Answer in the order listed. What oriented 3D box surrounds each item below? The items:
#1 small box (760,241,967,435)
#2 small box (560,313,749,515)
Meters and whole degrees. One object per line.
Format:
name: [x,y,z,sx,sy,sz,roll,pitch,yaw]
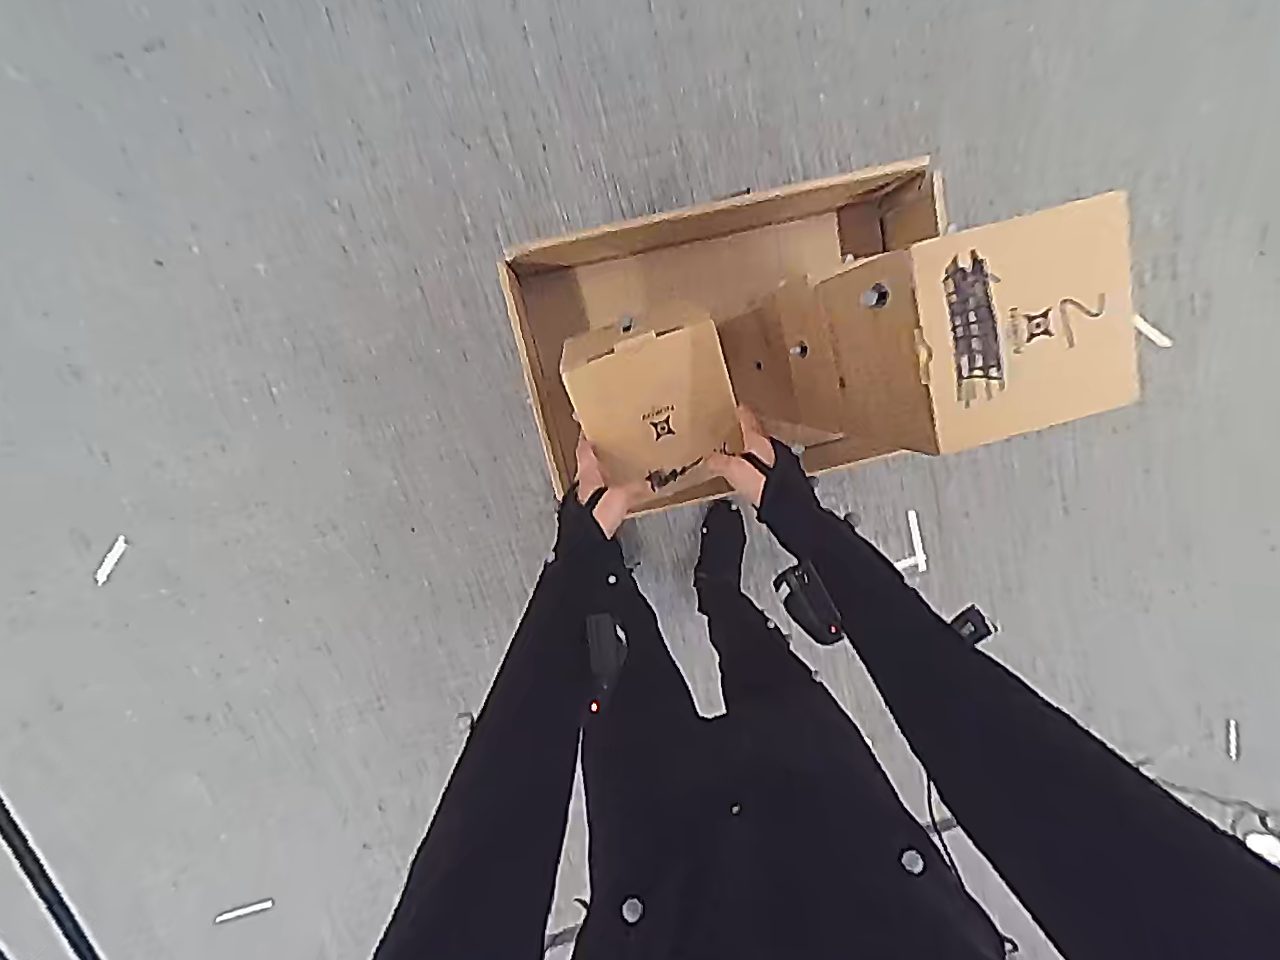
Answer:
small box: [0.258,-0.165,0.659,0.168,0.176,0.179,-15,102,-1]
small box: [0.011,-0.090,0.648,0.168,0.176,0.179,-20,114,2]
